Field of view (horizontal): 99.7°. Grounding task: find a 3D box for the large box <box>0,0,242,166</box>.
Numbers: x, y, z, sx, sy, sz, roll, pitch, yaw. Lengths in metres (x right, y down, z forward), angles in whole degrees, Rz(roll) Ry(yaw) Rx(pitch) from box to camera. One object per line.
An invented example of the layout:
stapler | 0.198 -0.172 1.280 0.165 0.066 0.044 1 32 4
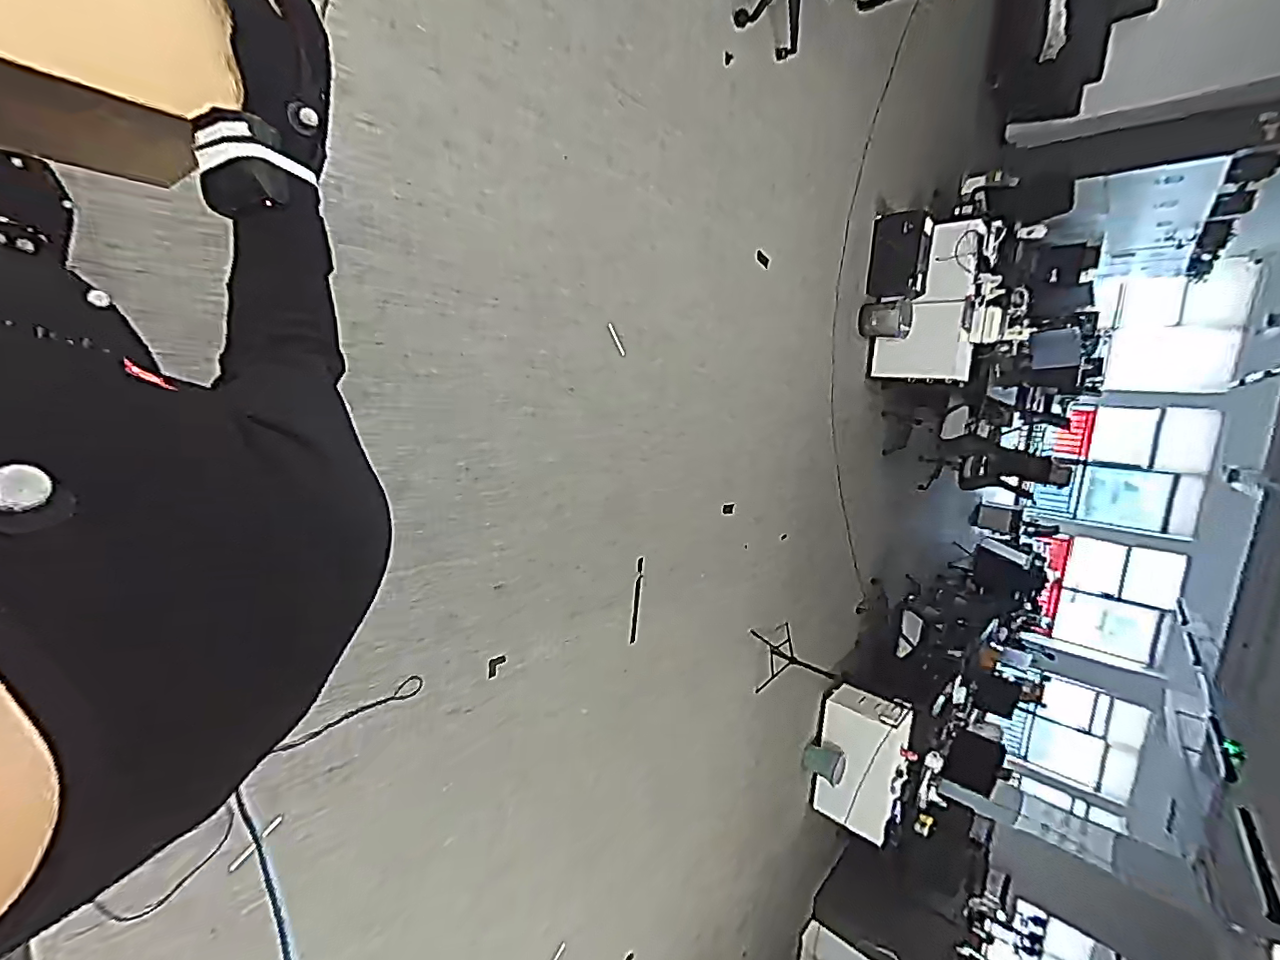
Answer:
large box | -0.553 -0.453 0.350 0.408 0.320 0.320 -8 110 -50
